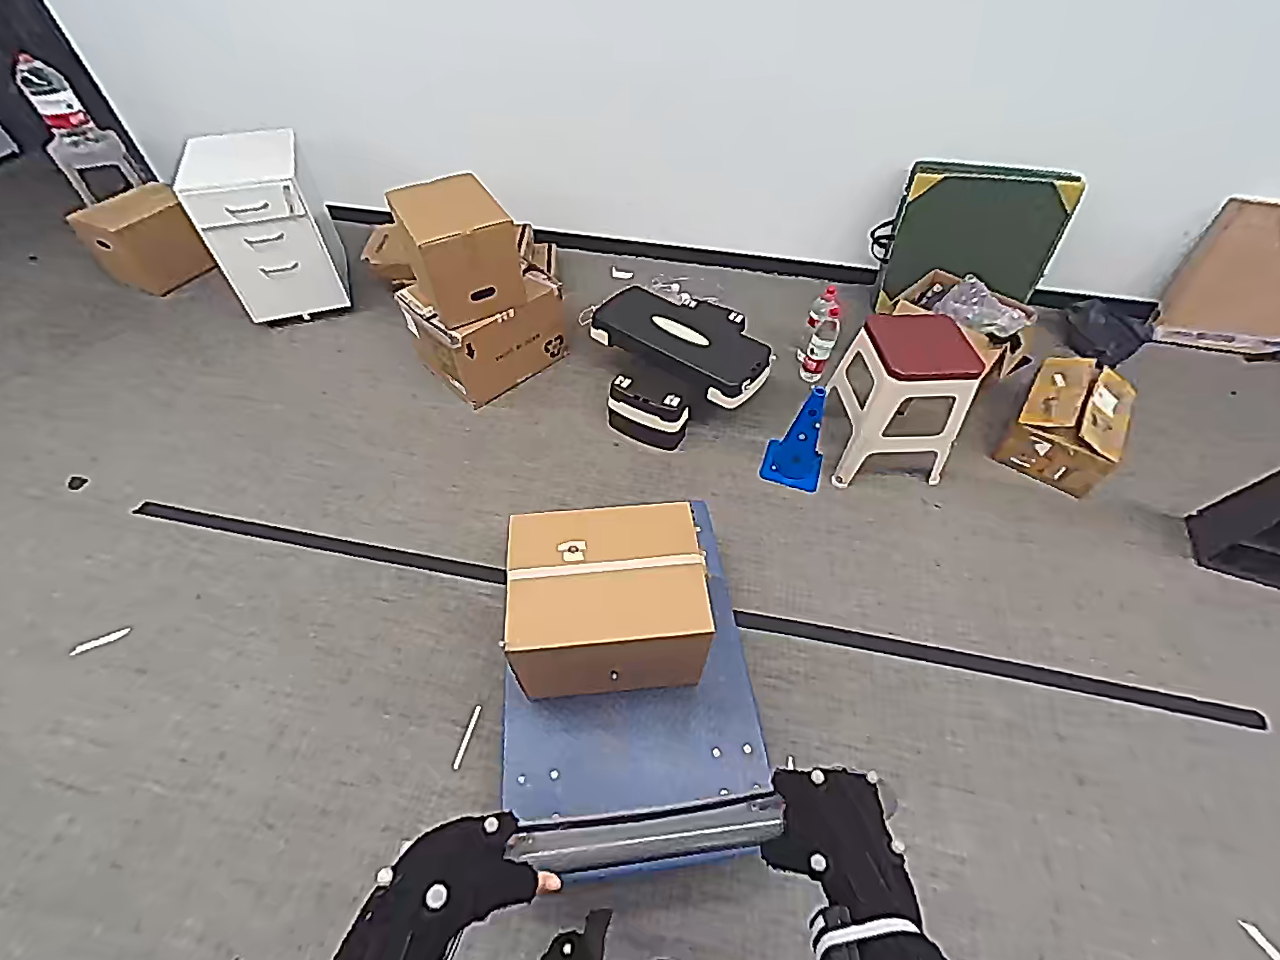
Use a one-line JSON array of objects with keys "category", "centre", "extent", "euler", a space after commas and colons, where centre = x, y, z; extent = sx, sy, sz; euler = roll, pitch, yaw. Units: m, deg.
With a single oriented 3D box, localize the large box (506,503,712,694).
[{"category": "large box", "centre": [-0.073, 0.277, 1.243], "extent": [0.408, 0.320, 0.320], "euler": [-4, 52, -4]}]
